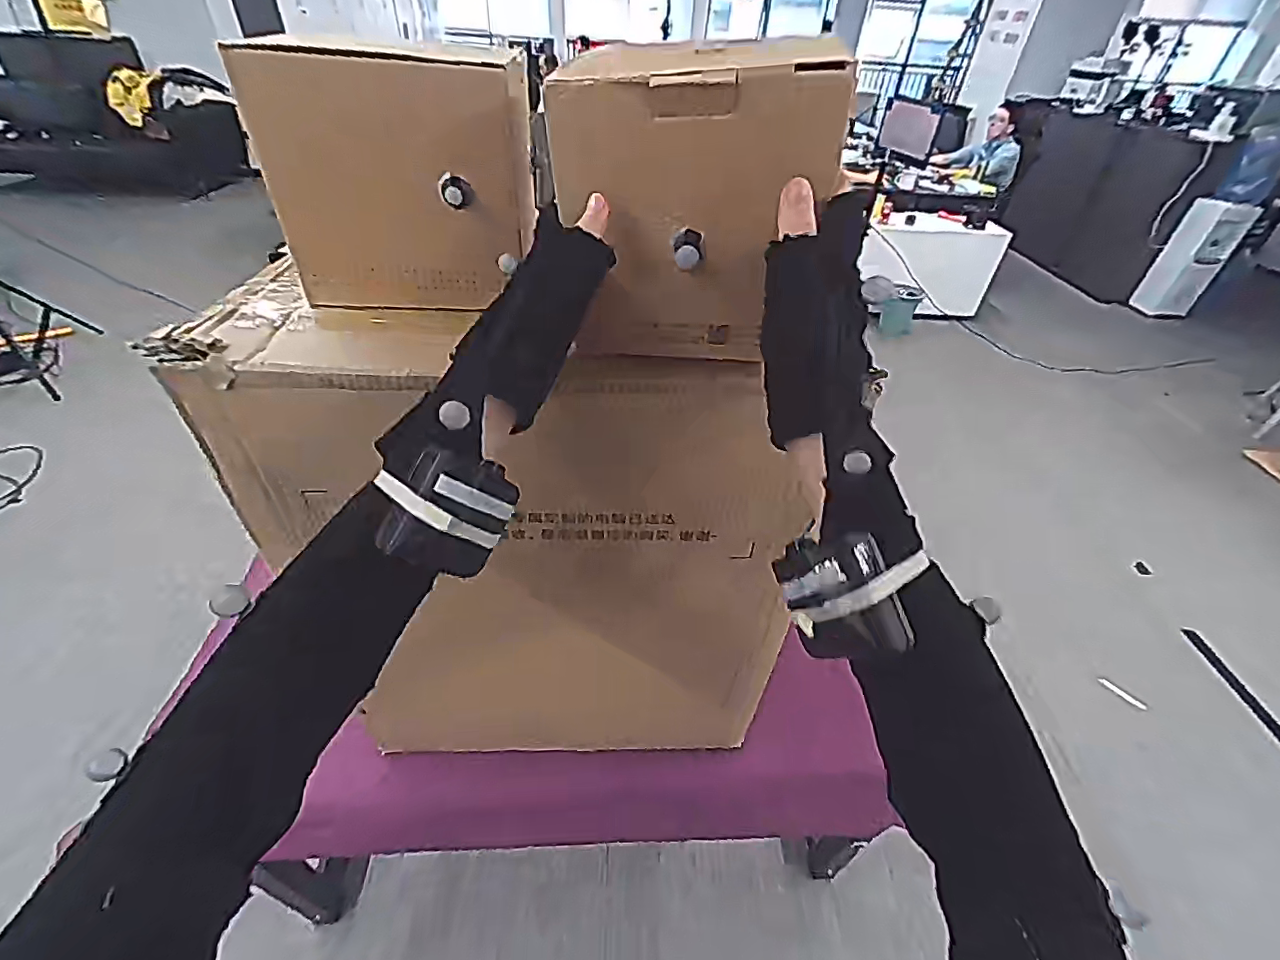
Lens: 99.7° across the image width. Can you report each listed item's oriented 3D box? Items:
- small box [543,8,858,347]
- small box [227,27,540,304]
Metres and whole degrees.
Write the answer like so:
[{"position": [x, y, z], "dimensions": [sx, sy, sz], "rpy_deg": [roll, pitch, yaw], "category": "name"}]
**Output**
[{"position": [0.049, -0.209, 0.386], "dimensions": [0.168, 0.176, 0.179], "rpy_deg": [4, 46, 10], "category": "small box"}, {"position": [-0.177, -0.256, 0.448], "dimensions": [0.179, 0.176, 0.168], "rpy_deg": [-1, 40, -6], "category": "small box"}]
